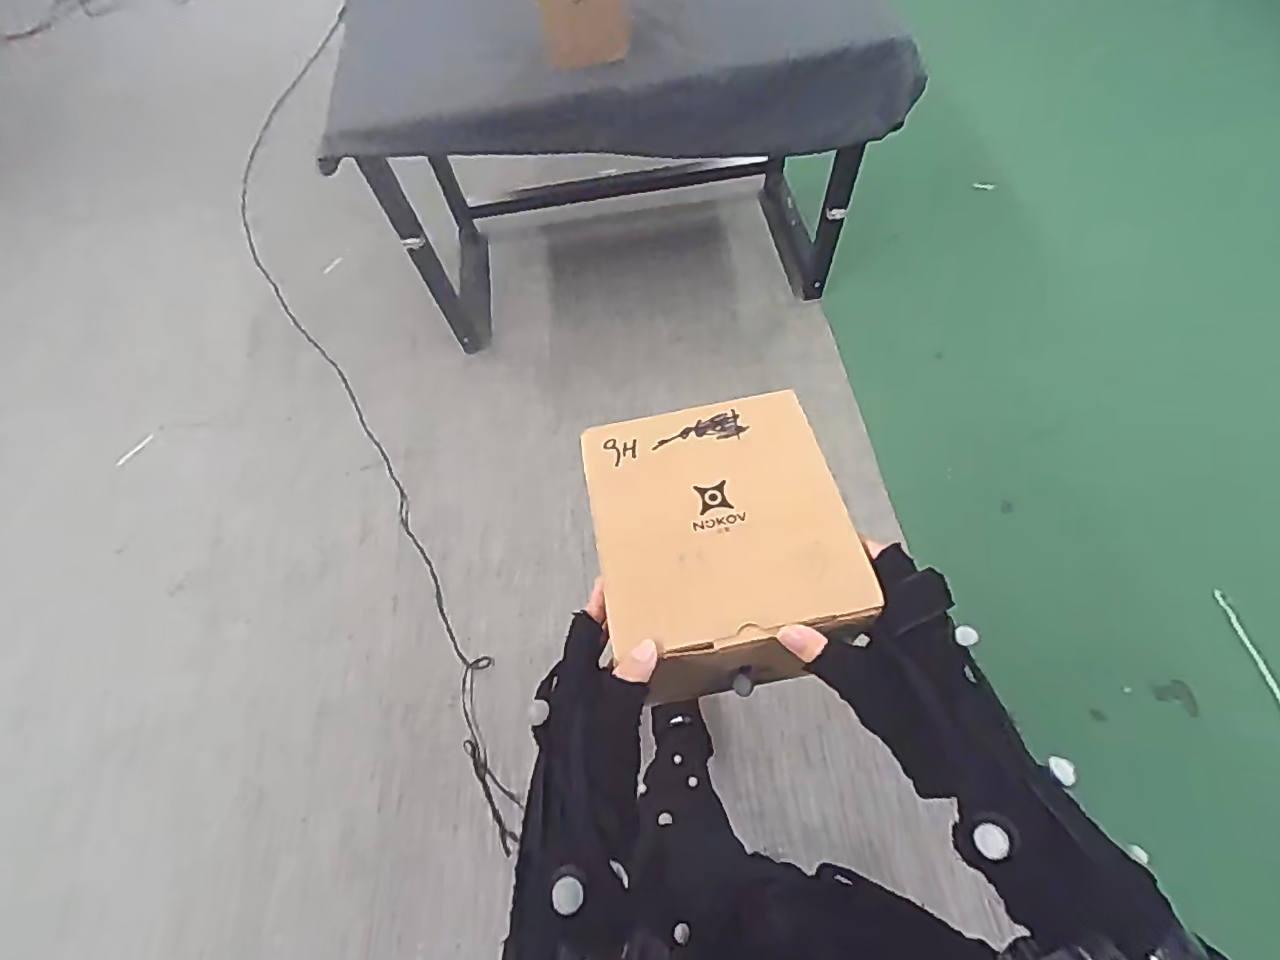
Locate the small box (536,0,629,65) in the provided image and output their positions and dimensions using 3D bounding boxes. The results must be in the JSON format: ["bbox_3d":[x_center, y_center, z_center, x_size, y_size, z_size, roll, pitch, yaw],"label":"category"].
[{"bbox_3d":[-0.122,-0.980,1.096,0.179,0.176,0.168,-7,65,-1],"label":"small box"}]

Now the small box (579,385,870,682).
[{"bbox_3d":[0.054,0.055,0.434,0.168,0.176,0.179,-11,60,-1],"label":"small box"}]
